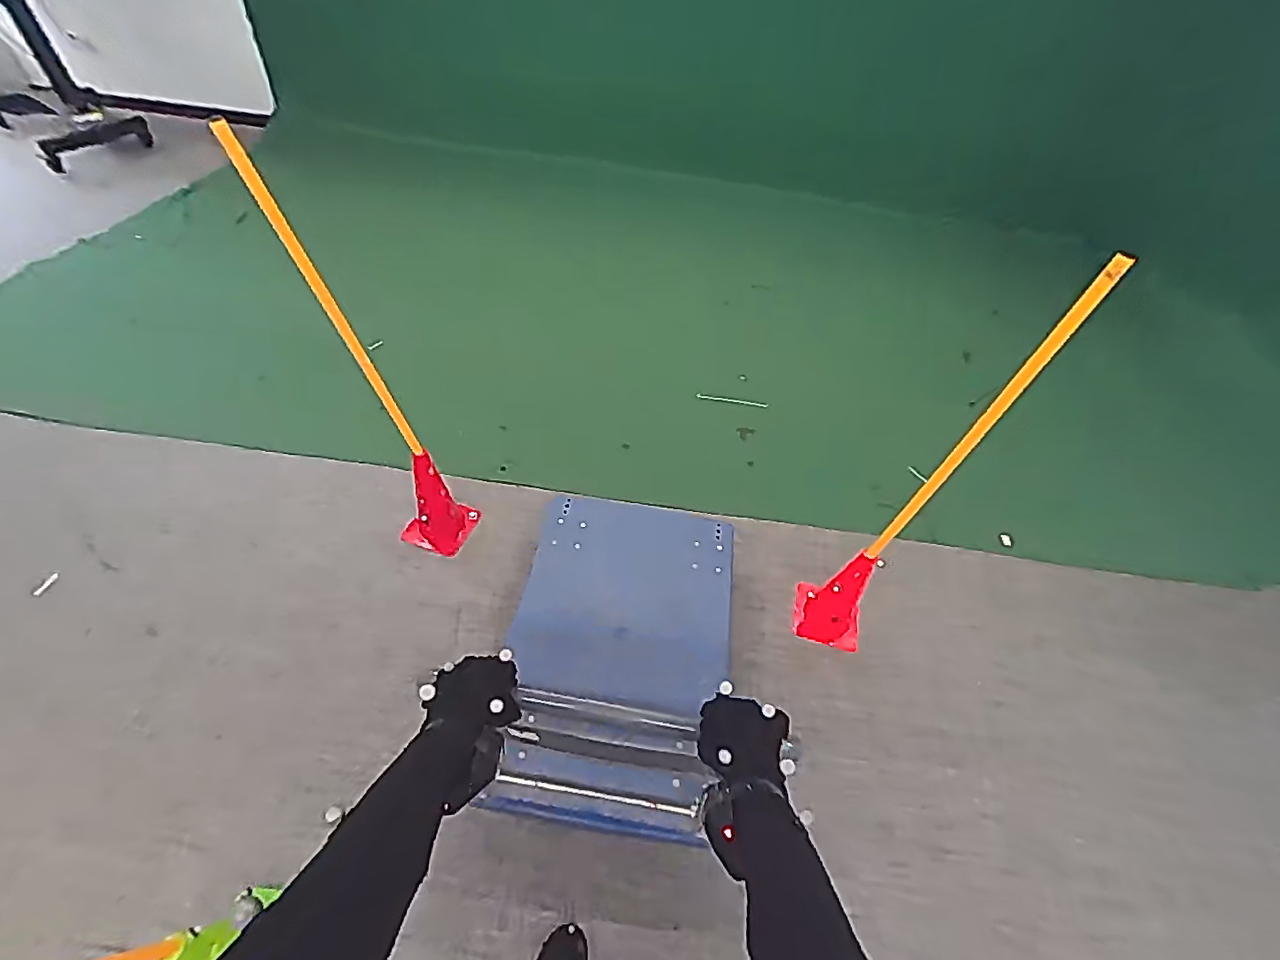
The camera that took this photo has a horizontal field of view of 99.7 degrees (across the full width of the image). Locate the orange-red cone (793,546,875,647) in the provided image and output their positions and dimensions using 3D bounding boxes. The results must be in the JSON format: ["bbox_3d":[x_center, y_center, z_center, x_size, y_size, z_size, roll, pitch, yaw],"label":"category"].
[{"bbox_3d":[0.604,0.309,1.587,0.198,0.360,0.199,16,49,8],"label":"orange-red cone"}]
